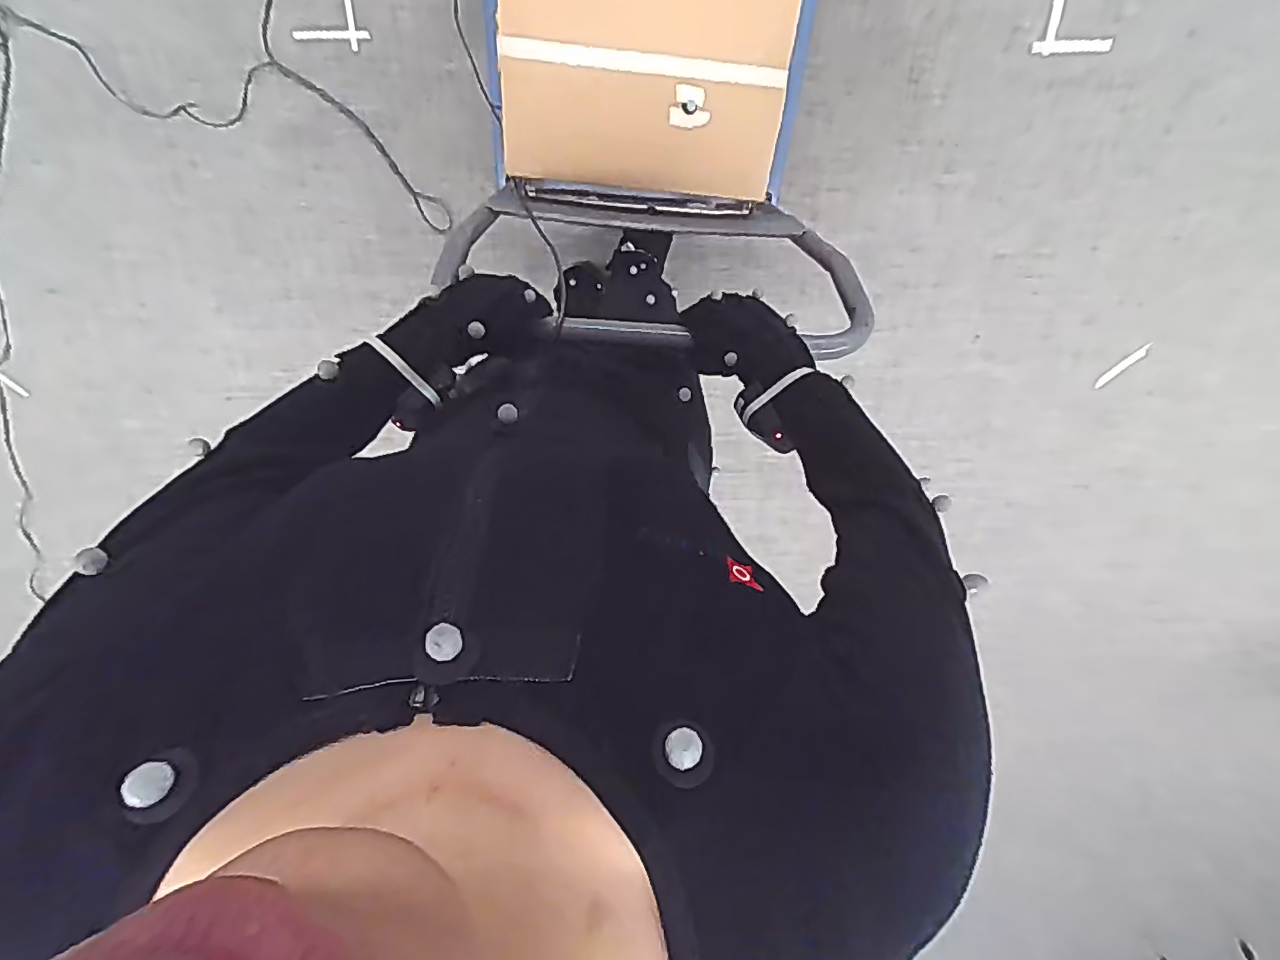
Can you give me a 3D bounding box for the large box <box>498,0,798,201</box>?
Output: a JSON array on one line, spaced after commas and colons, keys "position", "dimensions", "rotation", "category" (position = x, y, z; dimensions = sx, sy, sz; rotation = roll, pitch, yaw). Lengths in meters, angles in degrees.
[{"position": [-0.002, -0.651, 0.876], "dimensions": [0.408, 0.320, 0.320], "rotation": [3, 123, -5], "category": "large box"}]
